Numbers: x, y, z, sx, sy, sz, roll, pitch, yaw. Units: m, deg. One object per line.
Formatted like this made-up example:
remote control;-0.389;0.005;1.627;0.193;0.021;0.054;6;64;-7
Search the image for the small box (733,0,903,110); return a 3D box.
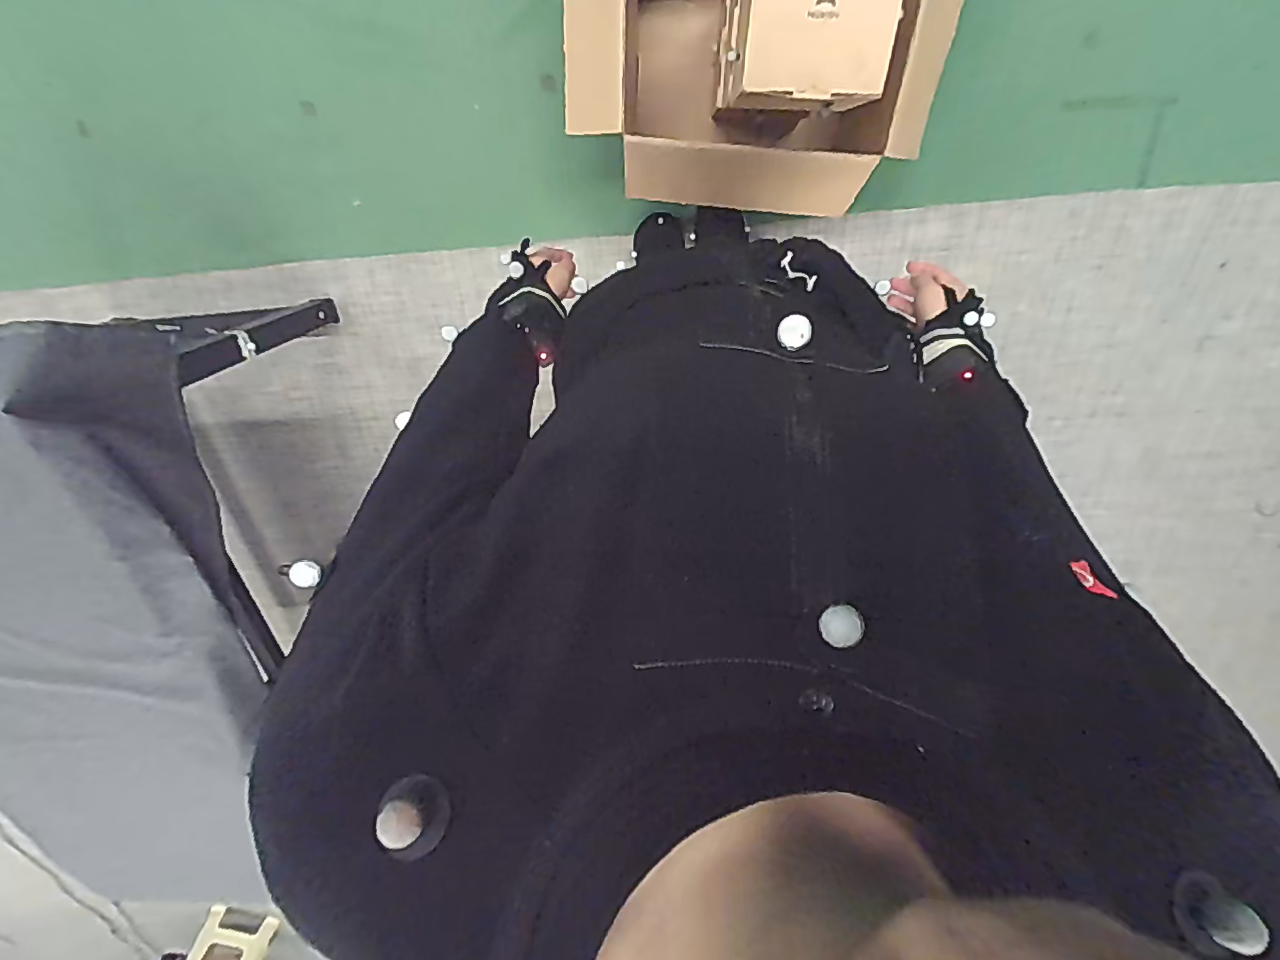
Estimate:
small box;0.208;-0.560;0.654;0.168;0.176;0.179;2;119;2
